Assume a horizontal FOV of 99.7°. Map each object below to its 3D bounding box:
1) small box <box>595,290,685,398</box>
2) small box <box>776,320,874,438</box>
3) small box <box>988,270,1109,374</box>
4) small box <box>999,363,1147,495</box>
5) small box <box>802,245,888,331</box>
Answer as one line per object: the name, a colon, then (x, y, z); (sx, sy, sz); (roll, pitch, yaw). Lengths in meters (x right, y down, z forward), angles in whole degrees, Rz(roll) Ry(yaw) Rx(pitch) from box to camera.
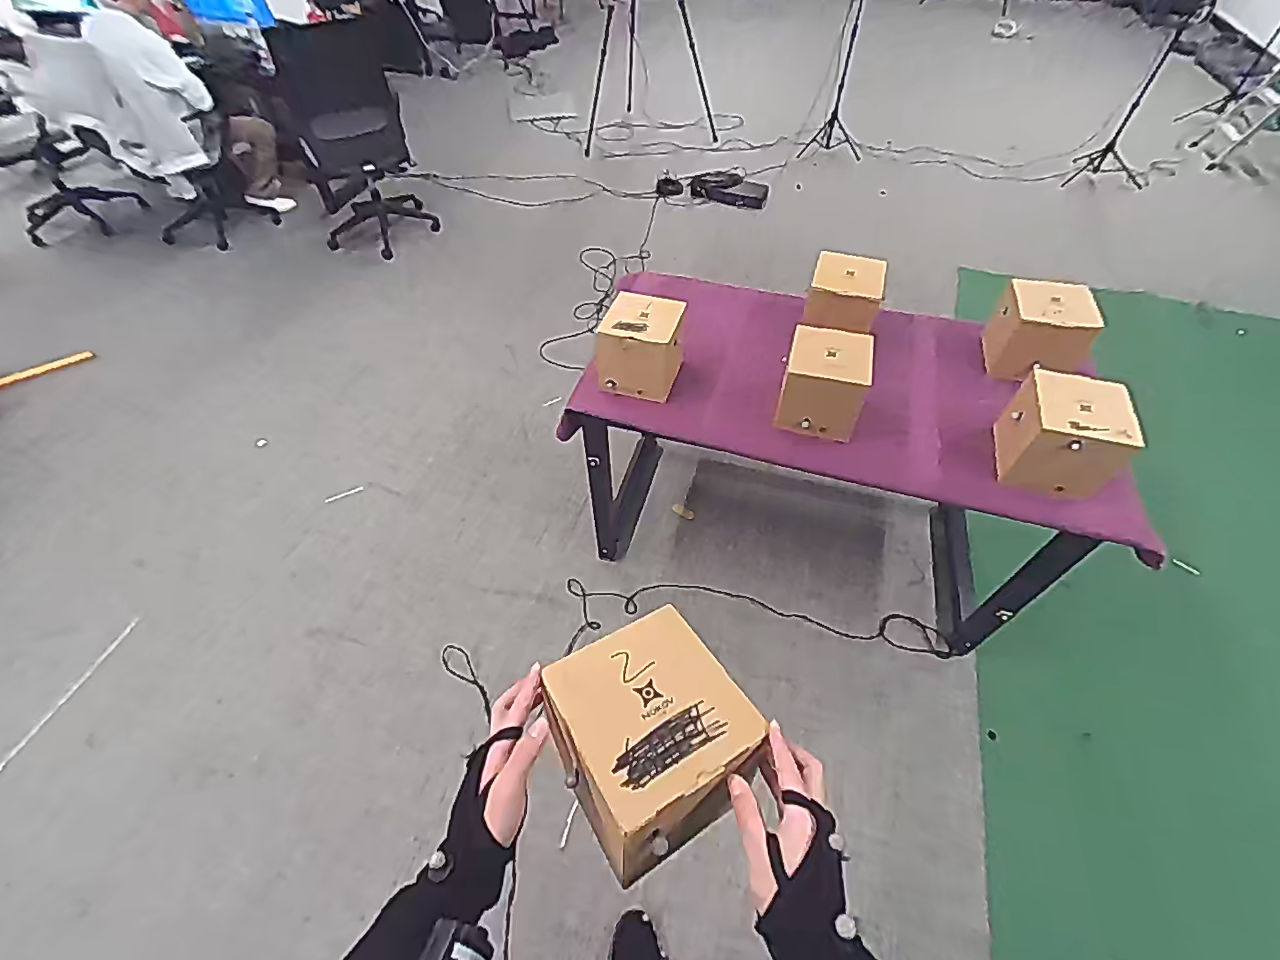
small box: (0.006, -0.318, 1.277); (0.168, 0.176, 0.179); (13, 52, 12)
small box: (0.402, -0.221, 1.188); (0.168, 0.176, 0.179); (12, 53, 13)
small box: (0.949, -0.369, 1.277); (0.168, 0.176, 0.179); (10, 54, 14)
small box: (0.839, -0.100, 1.072); (0.168, 0.176, 0.179); (13, 54, 14)
small box: (0.514, -0.464, 1.375); (0.168, 0.176, 0.179); (15, 56, 13)
